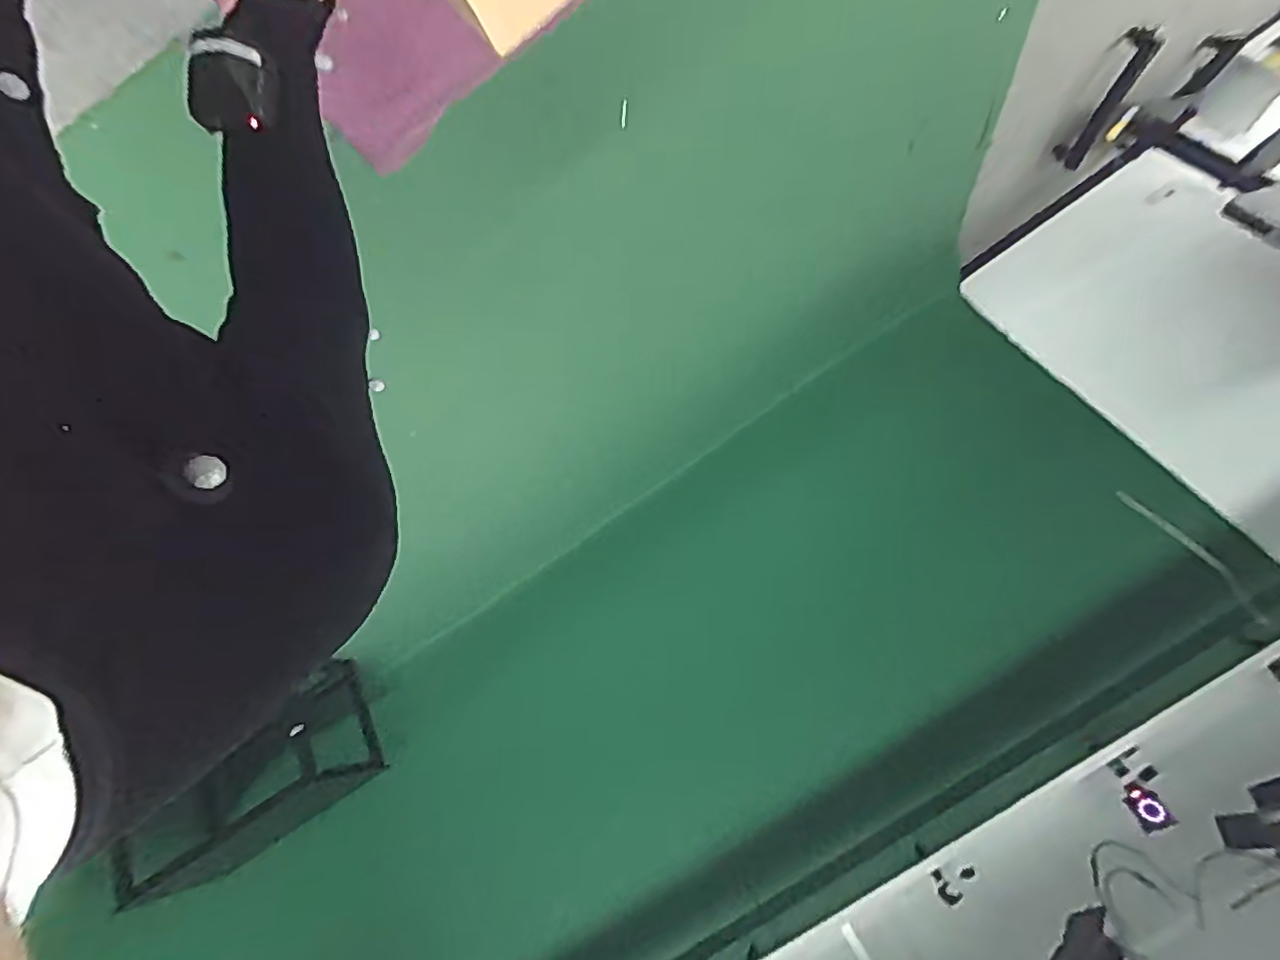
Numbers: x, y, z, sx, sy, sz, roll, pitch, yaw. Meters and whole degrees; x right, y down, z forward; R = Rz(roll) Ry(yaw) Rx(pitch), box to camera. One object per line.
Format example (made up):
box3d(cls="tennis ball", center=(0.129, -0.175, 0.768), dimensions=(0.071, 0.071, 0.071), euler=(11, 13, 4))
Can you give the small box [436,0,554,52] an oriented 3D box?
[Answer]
box3d(cls="small box", center=(-0.078, -0.346, 0.228), dimensions=(0.179, 0.176, 0.168), euler=(-38, 154, 5))
